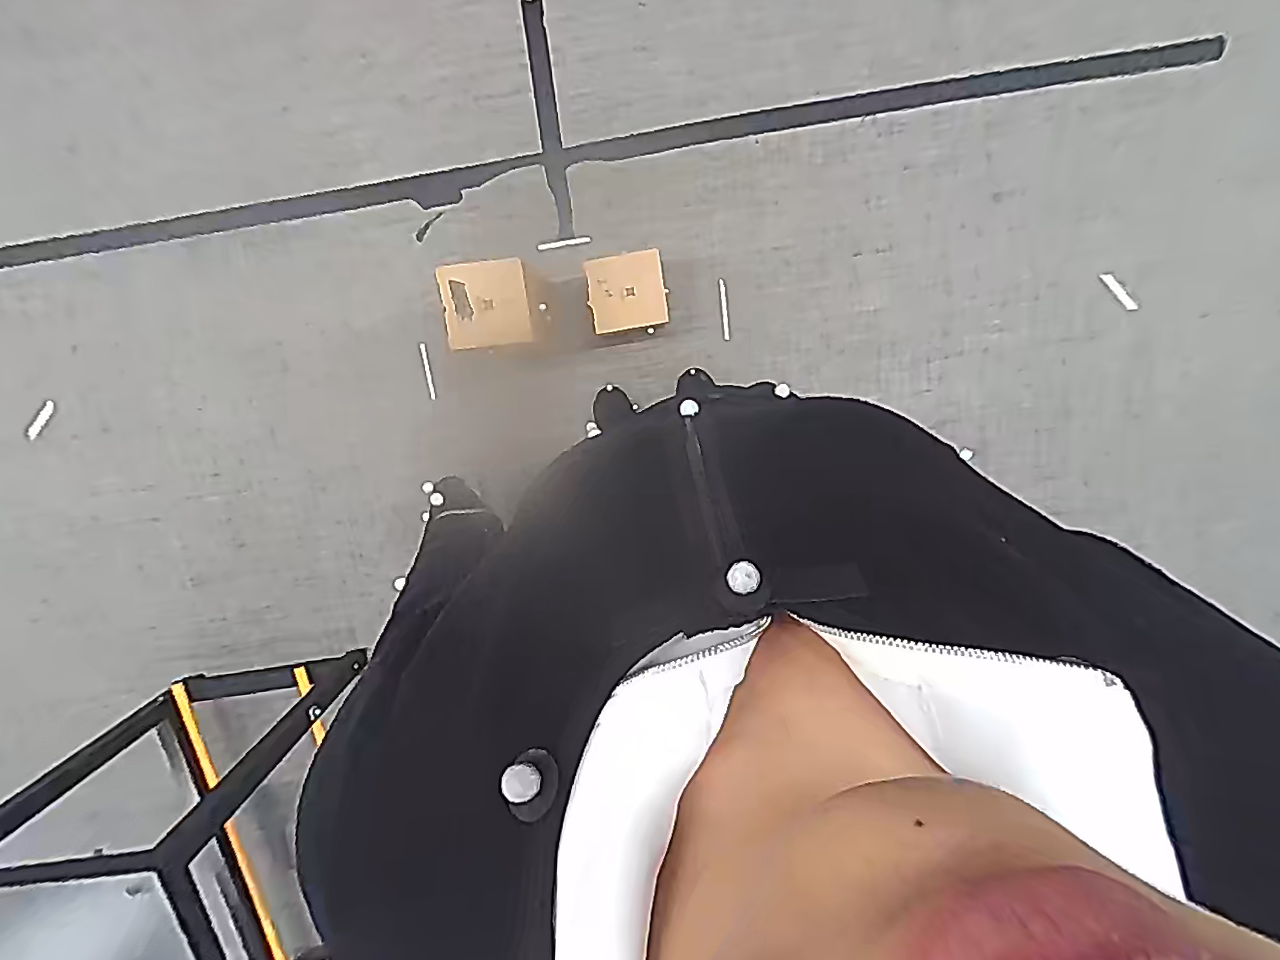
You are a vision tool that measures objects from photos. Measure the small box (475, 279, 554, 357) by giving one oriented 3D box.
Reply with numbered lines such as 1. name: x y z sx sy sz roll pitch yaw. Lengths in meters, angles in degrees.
1. small box: -0.312 -0.401 1.326 0.168 0.176 0.179 -6 104 2

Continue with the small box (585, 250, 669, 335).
1. small box: -0.030 -0.449 1.314 0.179 0.176 0.168 -9 103 2

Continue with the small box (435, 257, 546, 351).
1. small box: -0.312 -0.370 1.163 0.179 0.176 0.168 -6 103 1
